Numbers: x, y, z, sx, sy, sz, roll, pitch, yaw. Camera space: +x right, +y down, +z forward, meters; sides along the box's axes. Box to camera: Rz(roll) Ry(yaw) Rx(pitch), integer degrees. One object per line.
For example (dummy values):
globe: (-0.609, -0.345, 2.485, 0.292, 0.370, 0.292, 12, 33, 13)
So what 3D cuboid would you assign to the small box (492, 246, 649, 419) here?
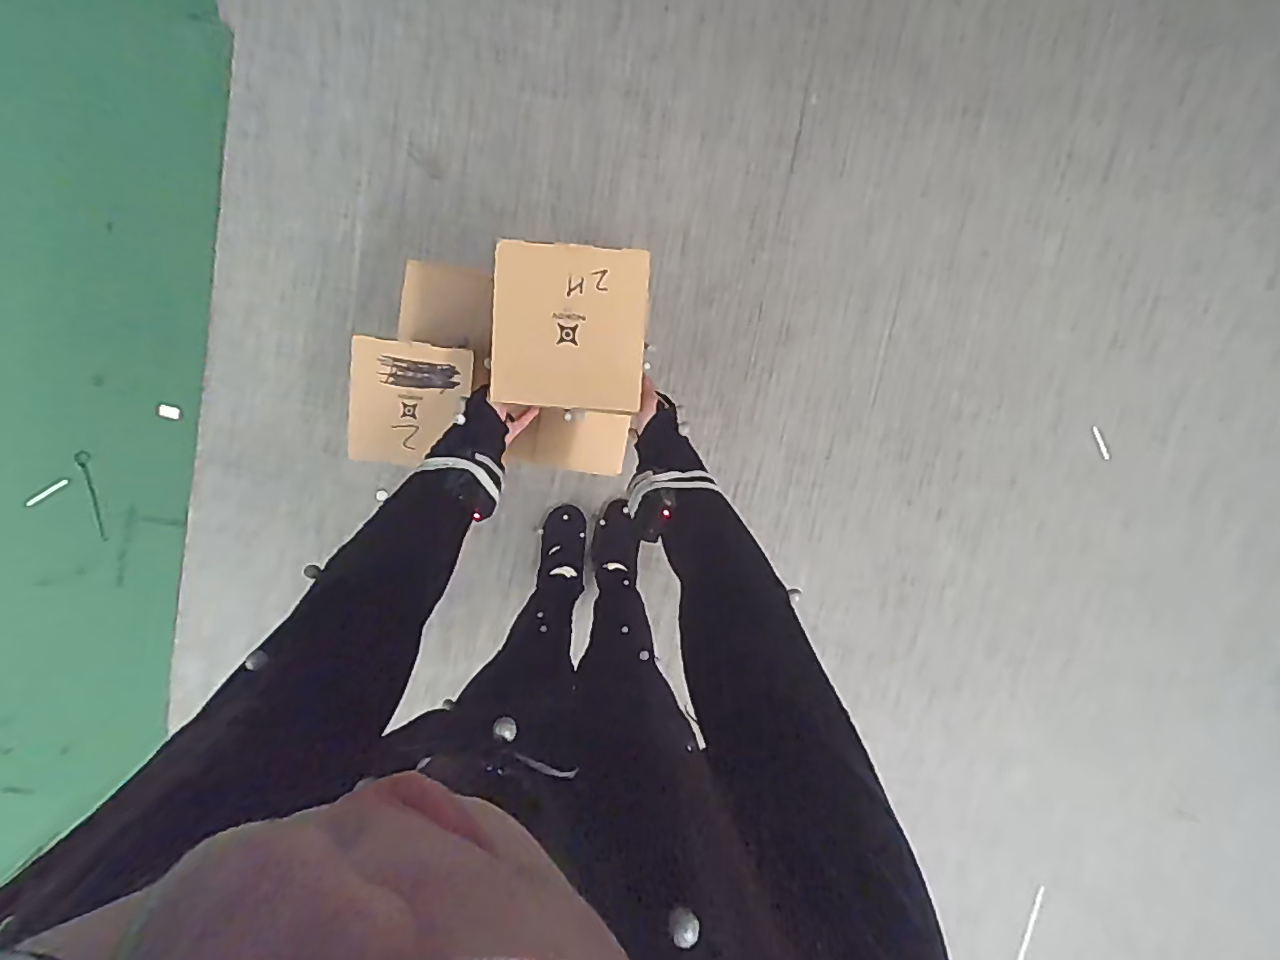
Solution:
small box: (-0.079, -0.171, 0.677, 0.168, 0.176, 0.179, 5, 96, -2)
